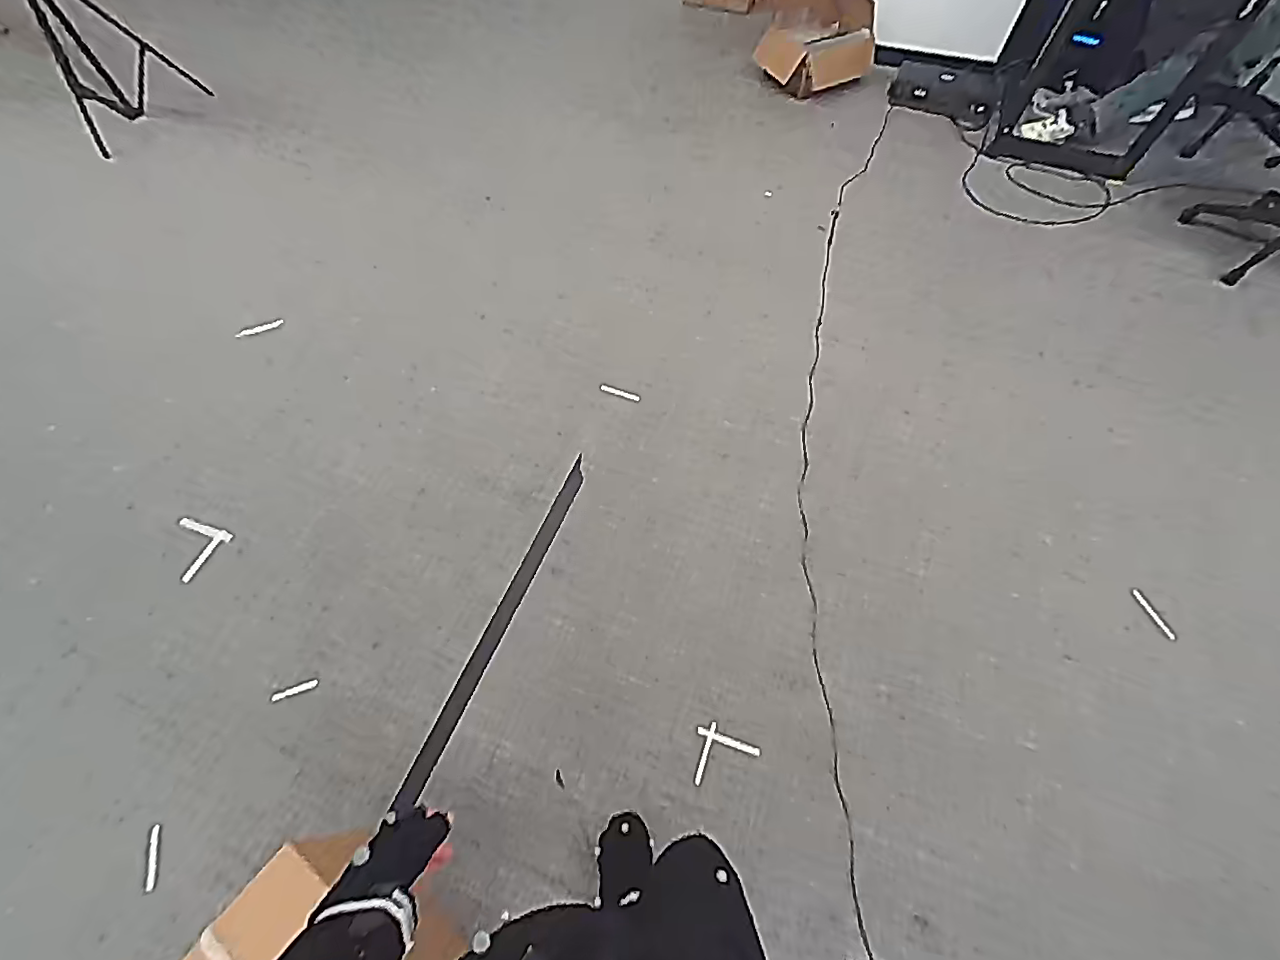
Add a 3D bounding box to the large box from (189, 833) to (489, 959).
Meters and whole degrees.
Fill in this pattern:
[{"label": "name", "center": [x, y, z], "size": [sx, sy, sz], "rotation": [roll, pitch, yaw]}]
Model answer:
[{"label": "large box", "center": [-0.541, 0.913, 0.963], "size": [0.408, 0.320, 0.320], "rotation": [33, 65, 16]}]
